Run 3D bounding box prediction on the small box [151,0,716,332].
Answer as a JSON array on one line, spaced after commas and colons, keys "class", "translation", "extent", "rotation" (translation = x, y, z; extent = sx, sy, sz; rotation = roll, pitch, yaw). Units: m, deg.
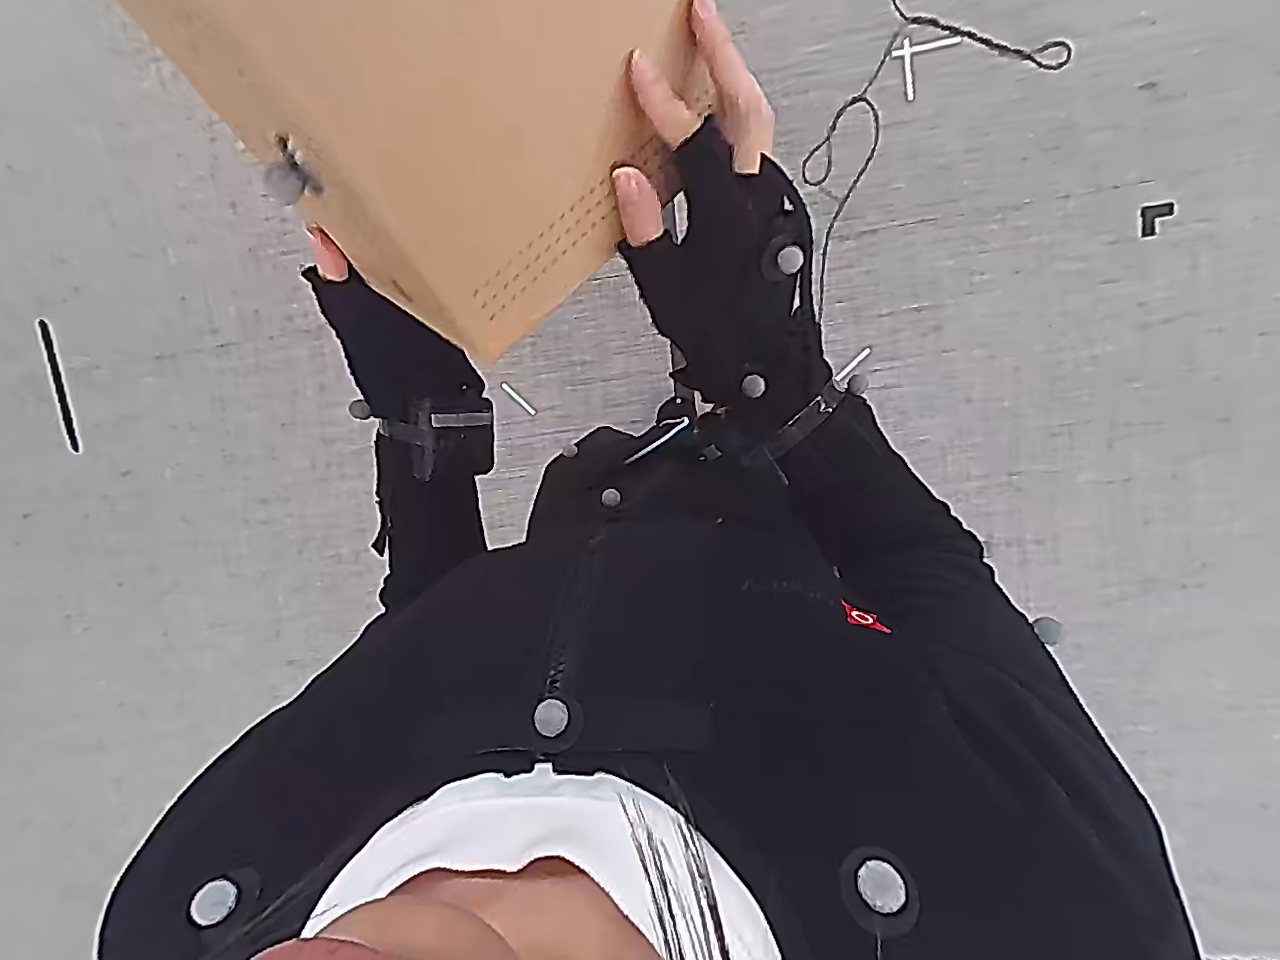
[{"class": "small box", "translation": [-0.085, -0.203, 0.264], "extent": [0.179, 0.176, 0.168], "rotation": [-46, 52, -14]}]
